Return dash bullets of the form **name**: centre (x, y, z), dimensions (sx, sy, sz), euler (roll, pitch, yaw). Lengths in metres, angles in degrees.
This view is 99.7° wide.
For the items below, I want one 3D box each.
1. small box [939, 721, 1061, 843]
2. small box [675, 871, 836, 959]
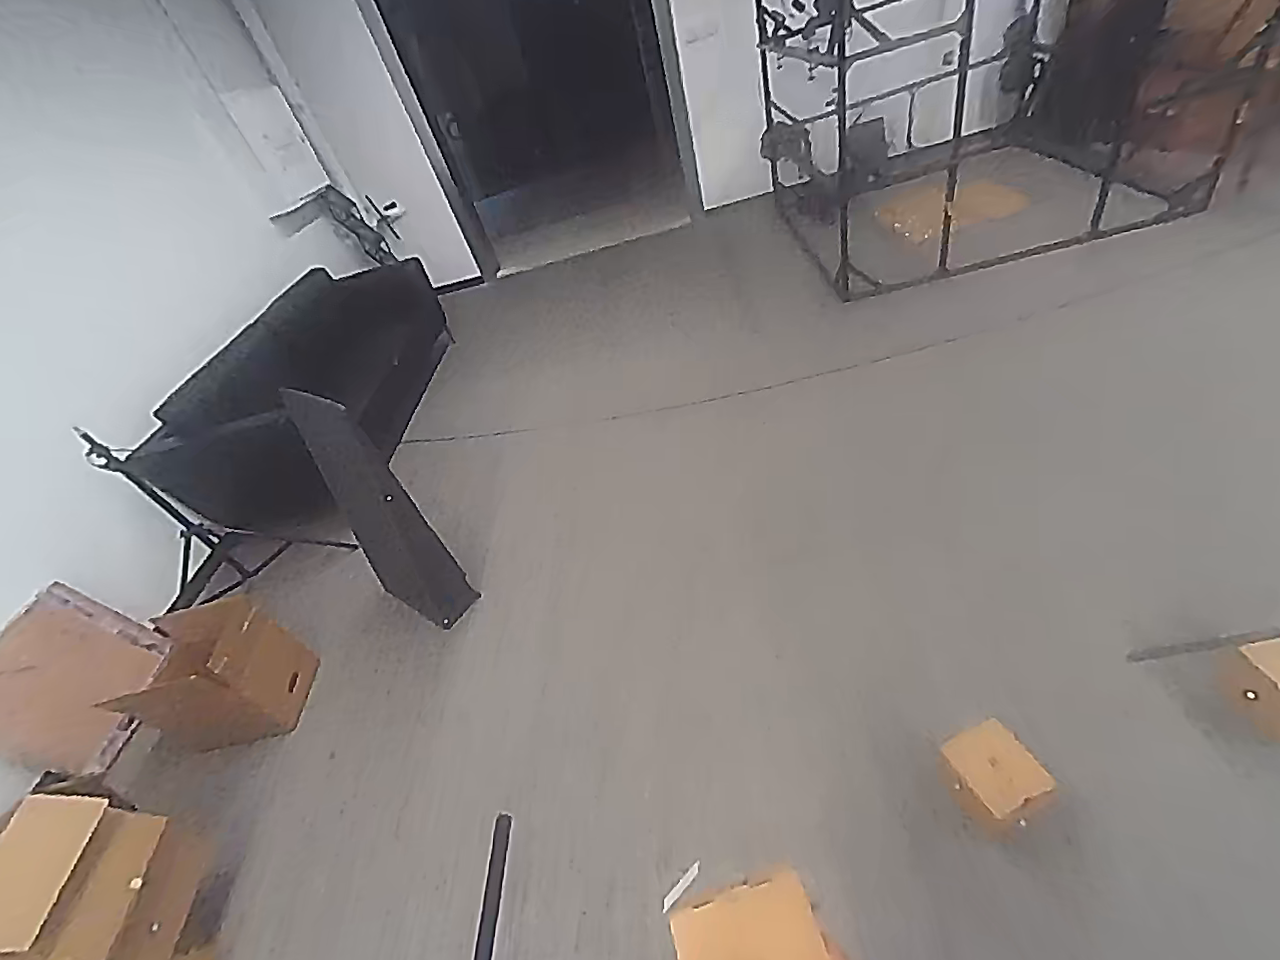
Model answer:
- **small box**: centre (0.850, 0.726, 1.299), dimensions (0.168, 0.176, 0.179), euler (-25, 39, -6)
- **small box**: centre (0.155, 0.598, 0.650), dimensions (0.168, 0.176, 0.179), euler (-19, 54, 0)
